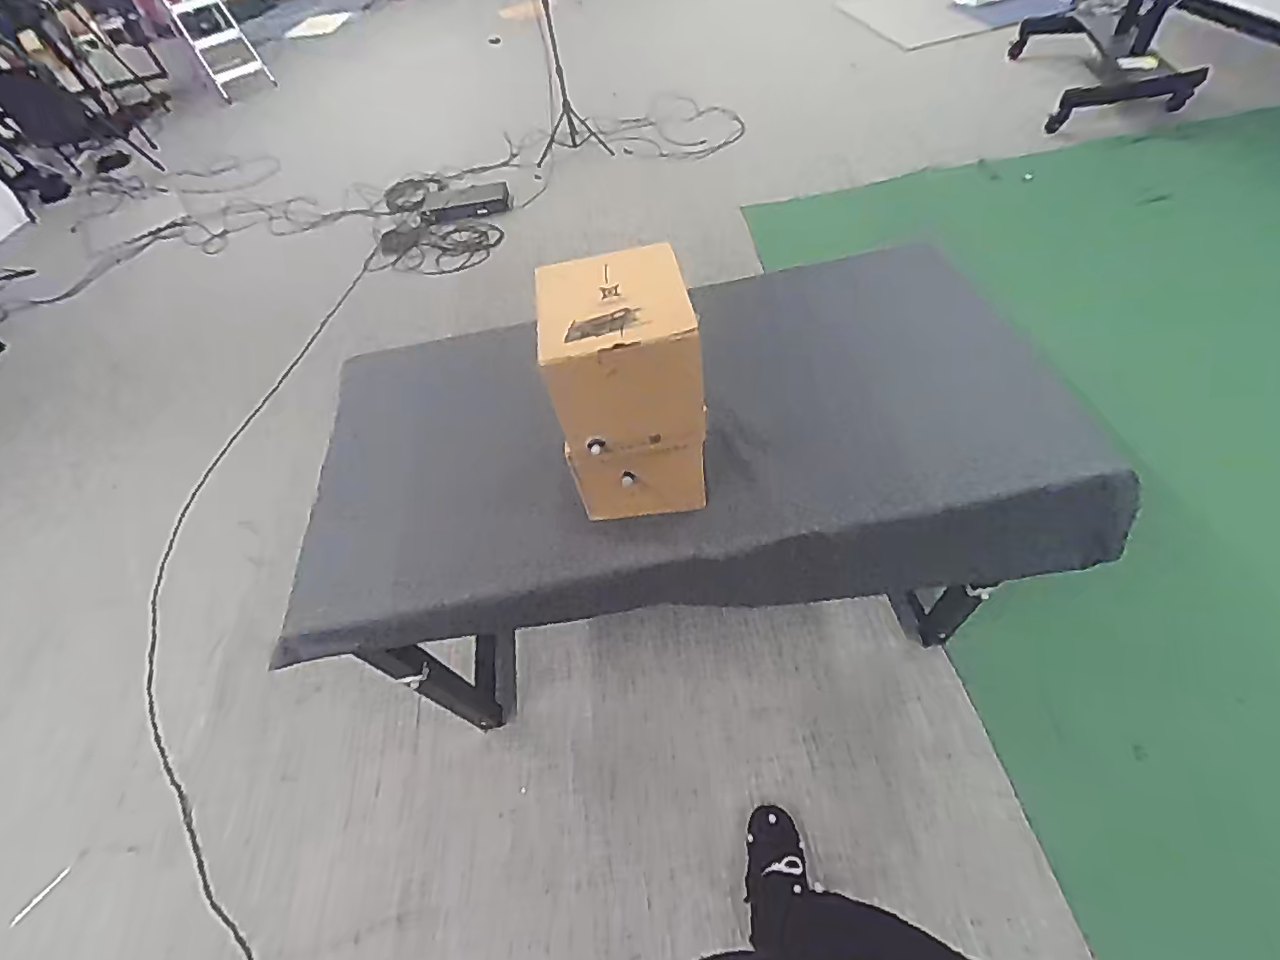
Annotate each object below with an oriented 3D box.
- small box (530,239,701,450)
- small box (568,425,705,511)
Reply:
[{"bbox_3d":[-0.025,-0.155,0.660,0.168,0.176,0.179,-14,55,0],"label":"small box"},{"bbox_3d":[-0.003,-0.070,0.803,0.179,0.176,0.168,-9,52,2],"label":"small box"}]
